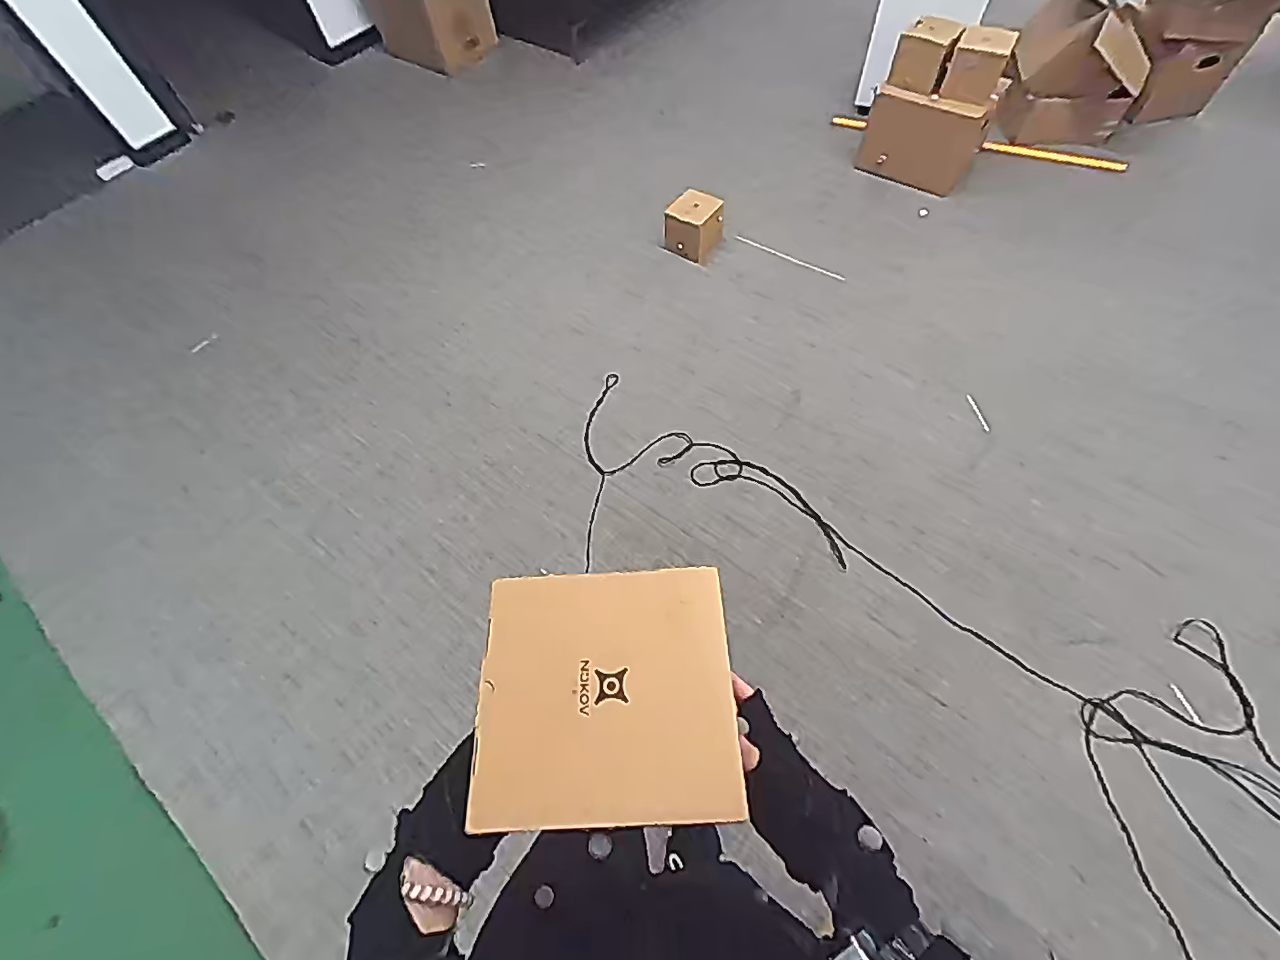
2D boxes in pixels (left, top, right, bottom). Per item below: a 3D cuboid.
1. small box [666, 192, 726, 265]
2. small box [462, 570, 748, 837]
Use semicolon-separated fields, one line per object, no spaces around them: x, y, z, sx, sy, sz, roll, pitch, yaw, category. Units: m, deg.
0.215;-0.981;2.111;0.168;0.176;0.179;31;67;20;small box
-0.019;0.182;0.432;0.179;0.176;0.168;-4;58;3;small box
